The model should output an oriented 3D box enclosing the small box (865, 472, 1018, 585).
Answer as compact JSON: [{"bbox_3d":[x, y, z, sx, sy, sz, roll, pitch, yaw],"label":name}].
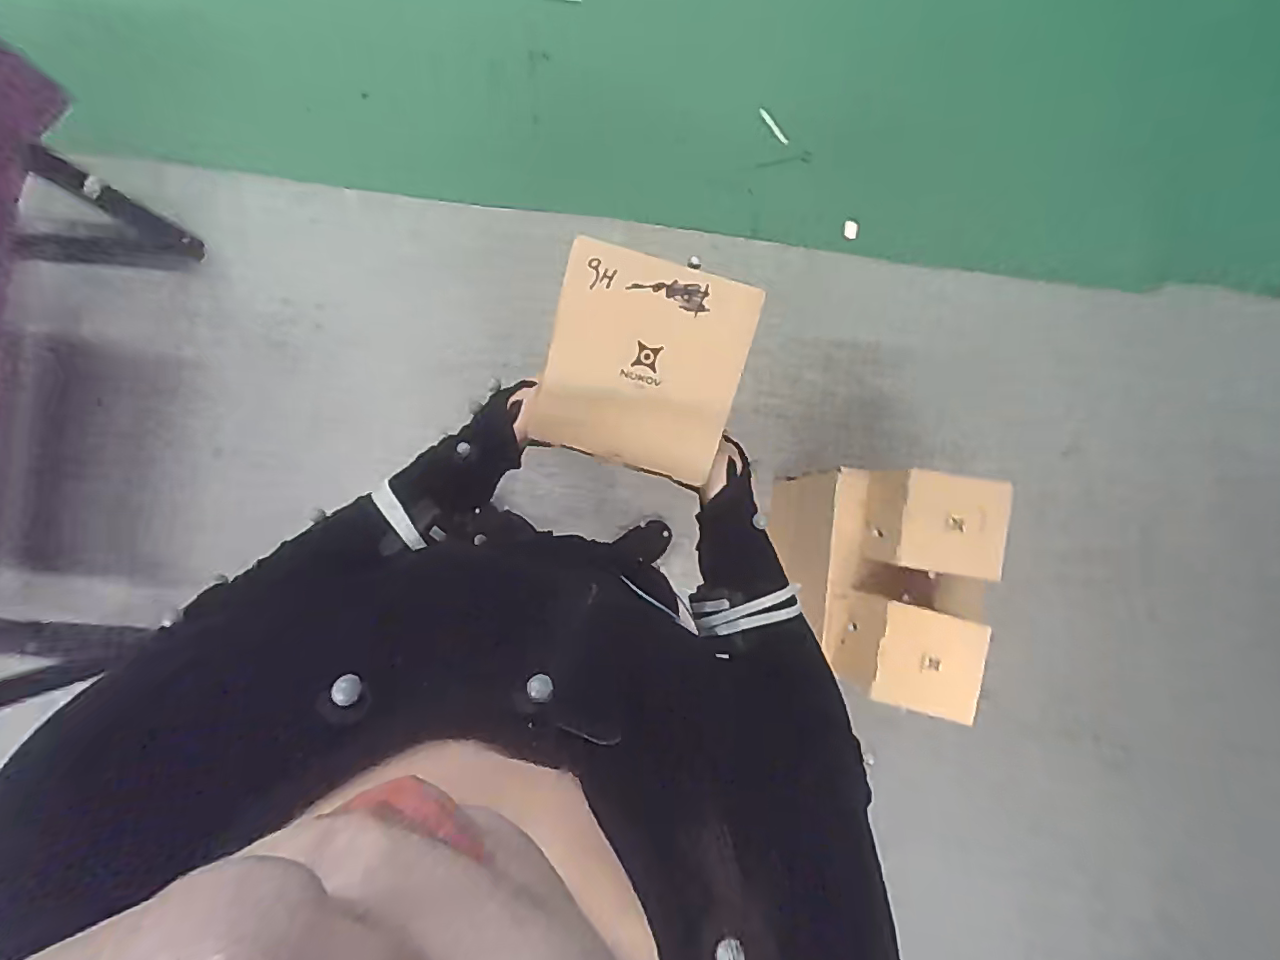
[{"bbox_3d":[0.530,0.082,0.975,0.179,0.176,0.168,9,89,1],"label":"small box"}]

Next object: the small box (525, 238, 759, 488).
[{"bbox_3d":[0.001,-0.111,0.535,0.168,0.176,0.179,15,102,-2],"label":"small box"}]

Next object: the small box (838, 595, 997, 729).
[{"bbox_3d":[0.481,0.312,0.961,0.179,0.176,0.168,14,86,1],"label":"small box"}]
